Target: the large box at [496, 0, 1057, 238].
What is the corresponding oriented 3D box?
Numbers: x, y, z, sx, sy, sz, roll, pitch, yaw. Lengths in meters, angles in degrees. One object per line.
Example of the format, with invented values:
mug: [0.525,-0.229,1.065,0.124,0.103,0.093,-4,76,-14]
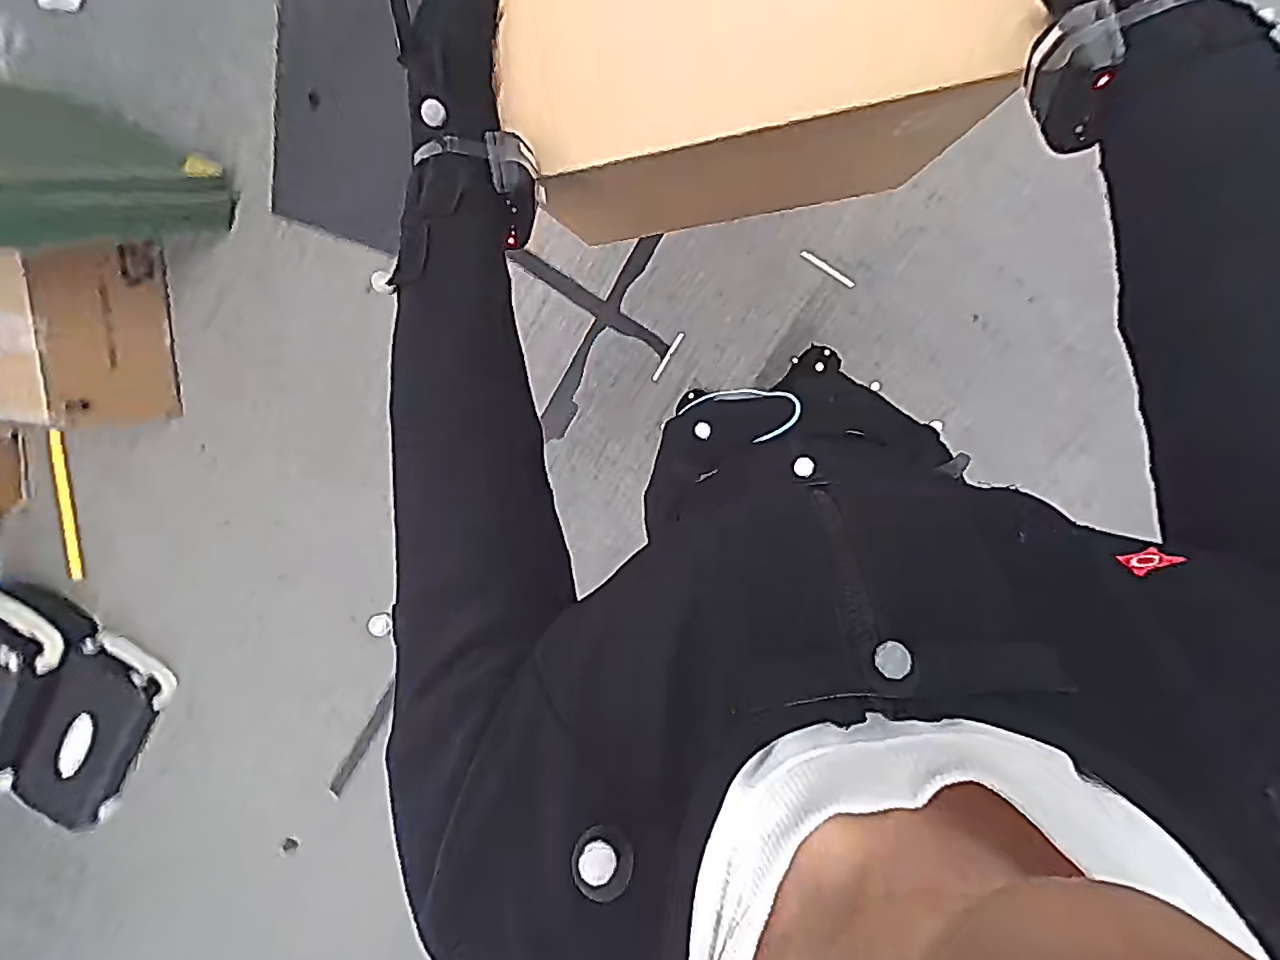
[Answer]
large box: [0.093,-0.460,0.524,0.408,0.320,0.320,-7,104,9]
